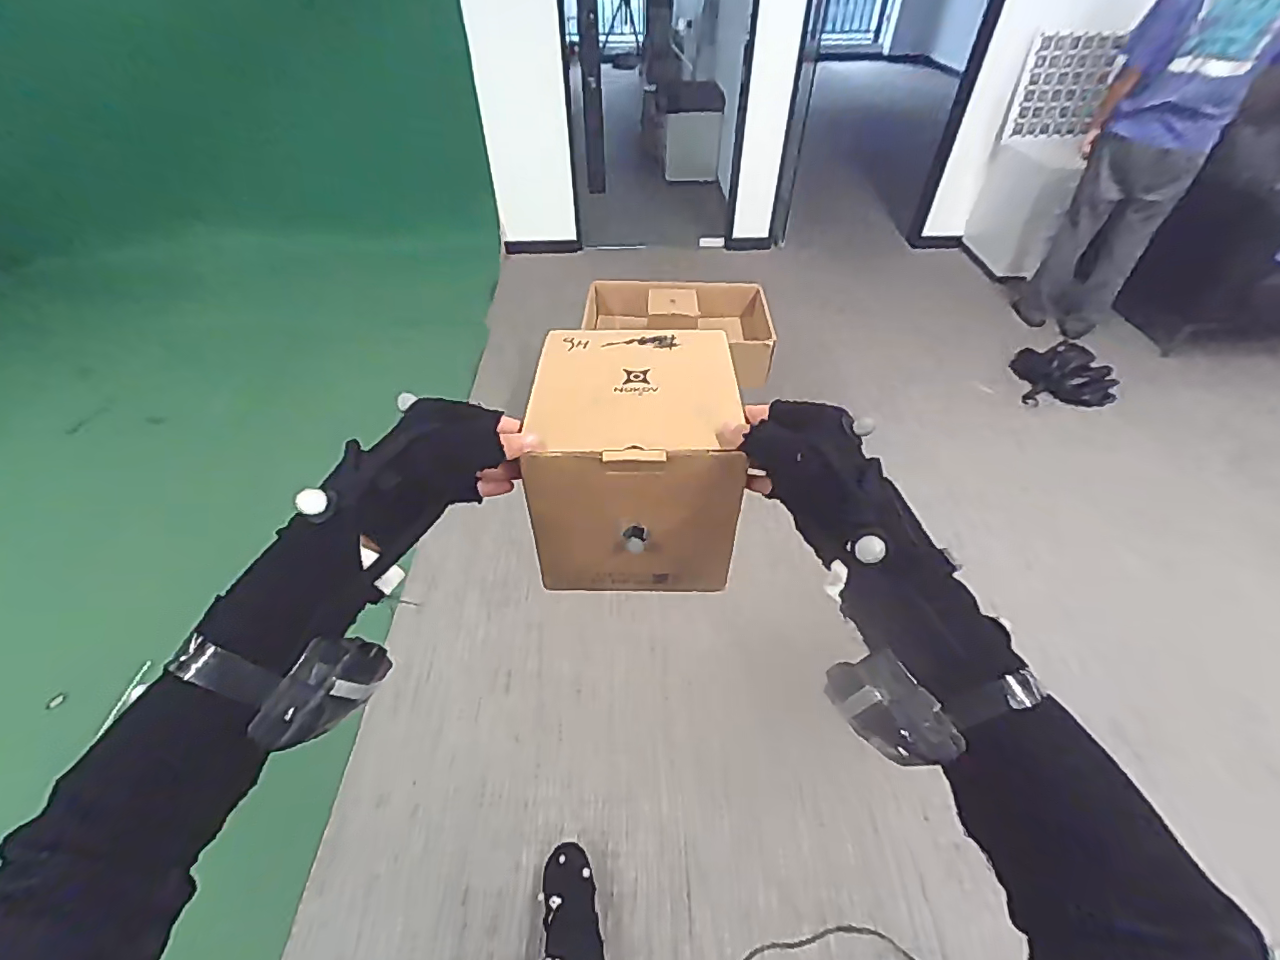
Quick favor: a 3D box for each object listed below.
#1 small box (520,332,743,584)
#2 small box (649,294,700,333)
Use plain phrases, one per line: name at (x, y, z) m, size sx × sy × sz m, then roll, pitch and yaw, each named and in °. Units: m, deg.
small box at (-0.003, -0.019, 0.501) m, size 0.168 × 0.176 × 0.179 m, roll 0°, pitch 44°, yaw 1°
small box at (0.114, -0.525, 1.863) m, size 0.168 × 0.176 × 0.179 m, roll 2°, pitch 43°, yaw -1°
